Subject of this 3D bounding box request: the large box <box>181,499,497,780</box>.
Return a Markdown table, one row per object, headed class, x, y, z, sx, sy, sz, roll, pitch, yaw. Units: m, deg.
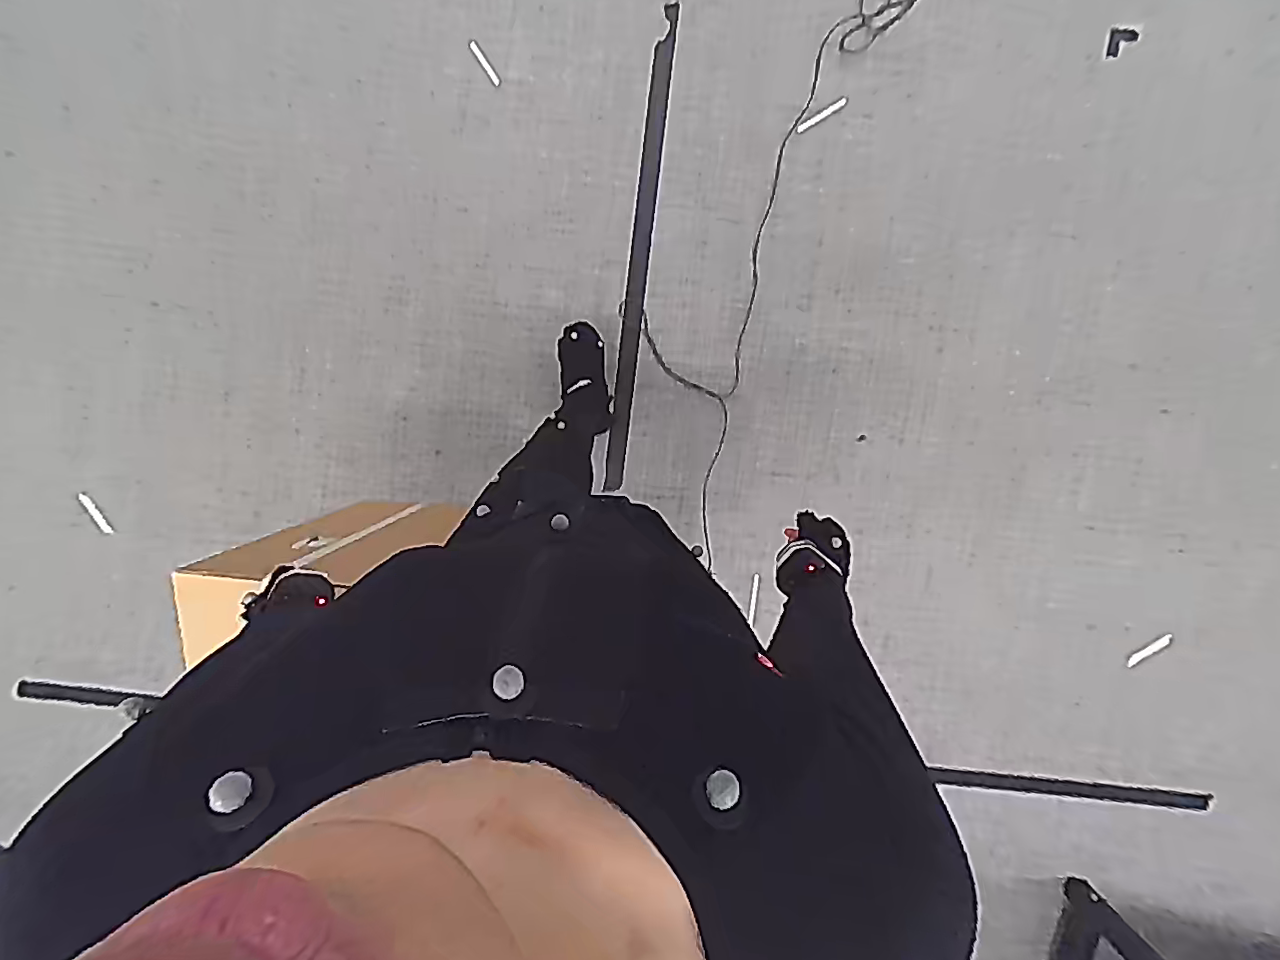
| class | x | y | z | sx | sy | sz | roll | pitch | yaw |
| --- | --- | --- | --- | --- | --- | --- | --- | --- | --- |
| large box | -0.472 | 0.239 | 0.957 | 0.320 | 0.408 | 0.320 | 3 | 103 | 9 |
